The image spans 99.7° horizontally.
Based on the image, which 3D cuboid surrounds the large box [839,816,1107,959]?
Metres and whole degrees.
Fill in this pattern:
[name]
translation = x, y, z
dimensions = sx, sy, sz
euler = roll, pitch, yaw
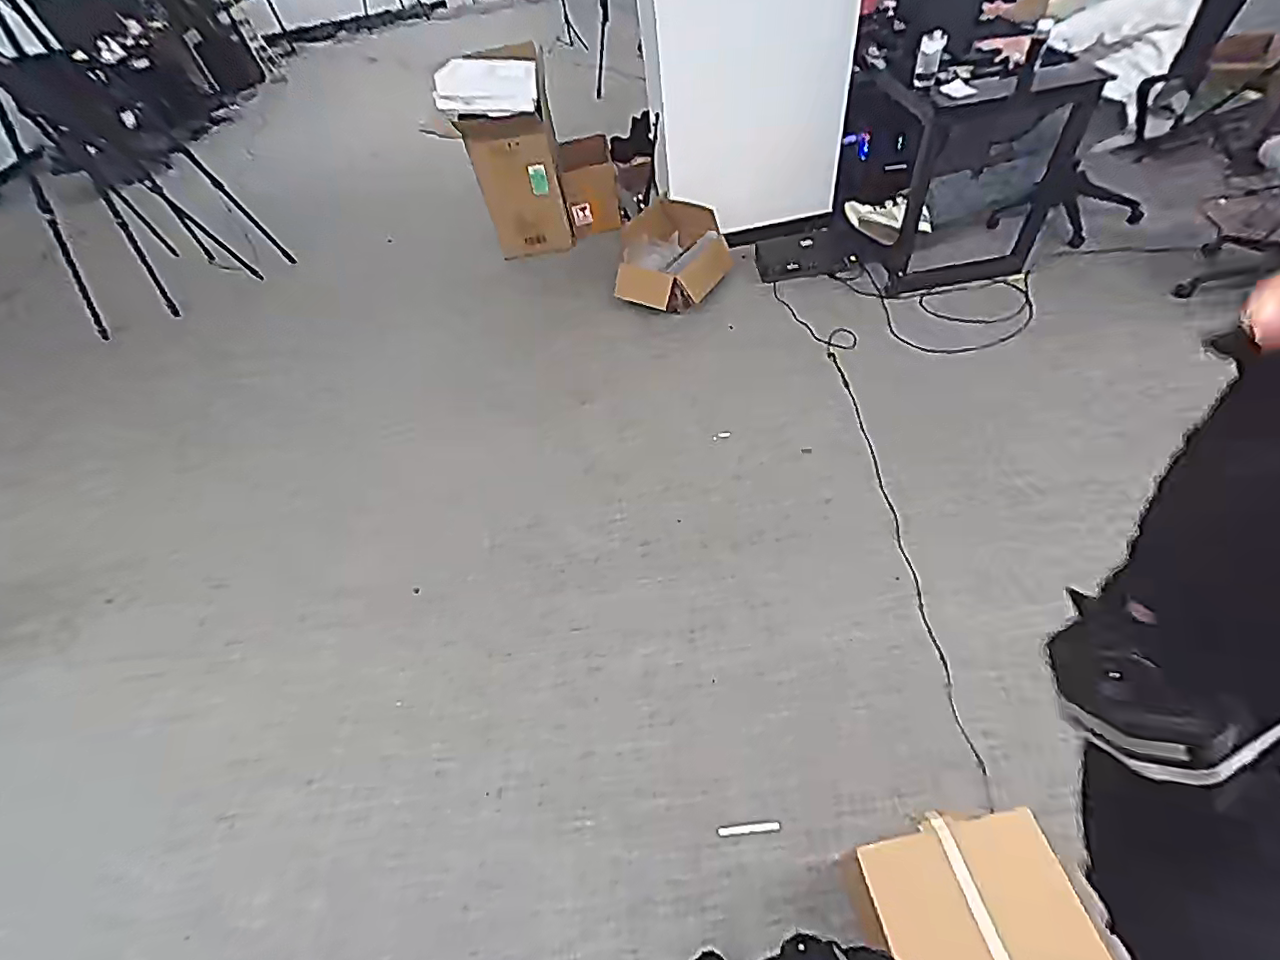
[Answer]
[large box]
translation = 0.594, 0.867, 0.947
dimensions = 0.320, 0.320, 0.408
euler = -14, 51, 1
